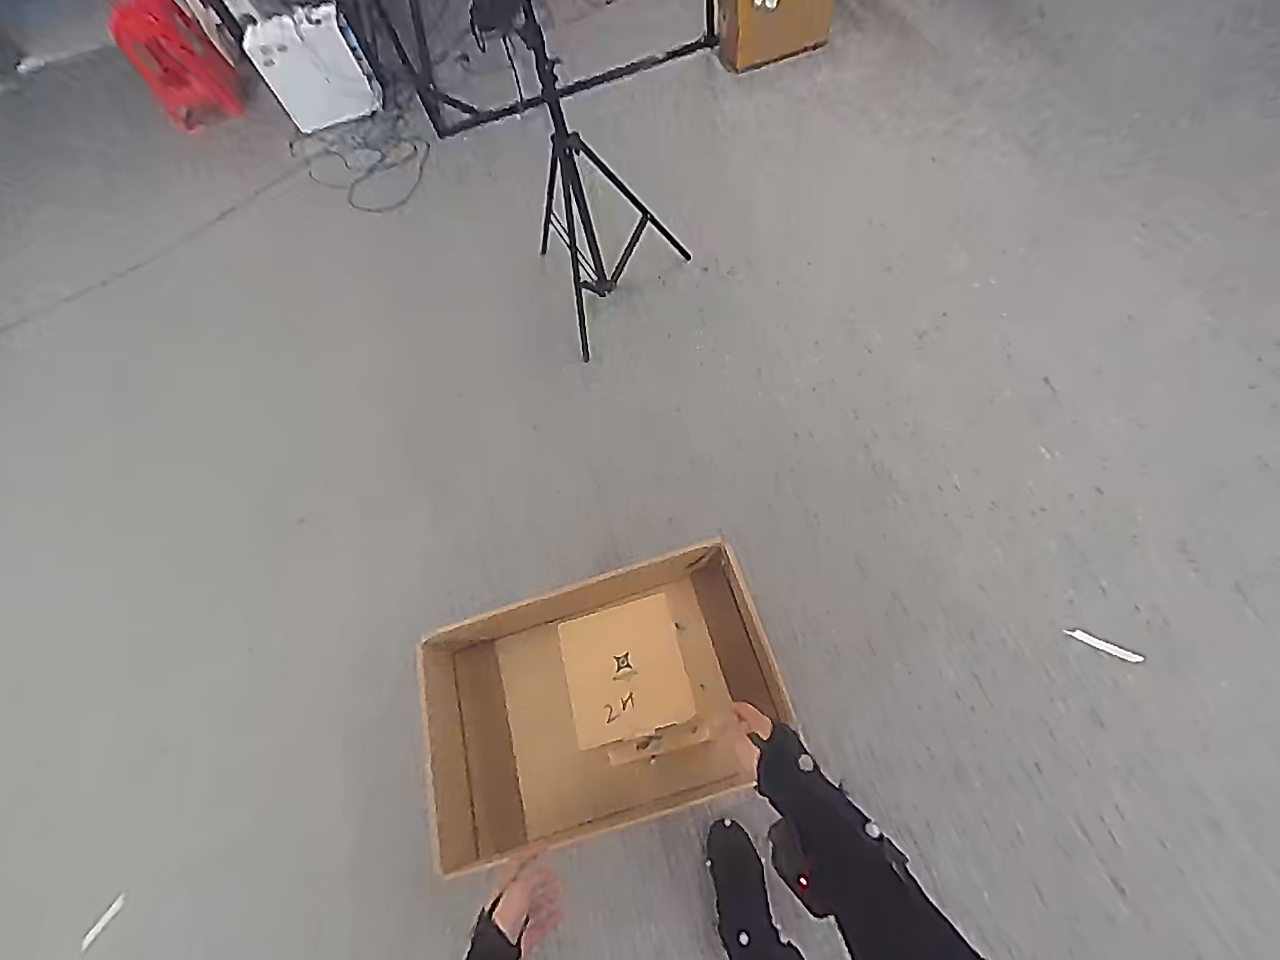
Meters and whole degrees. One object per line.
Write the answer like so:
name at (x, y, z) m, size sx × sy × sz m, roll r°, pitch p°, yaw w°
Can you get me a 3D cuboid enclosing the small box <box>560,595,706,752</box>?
small box at (-0.006, 0.294, 0.810) m, size 0.168 × 0.176 × 0.179 m, roll -17°, pitch 63°, yaw 4°
